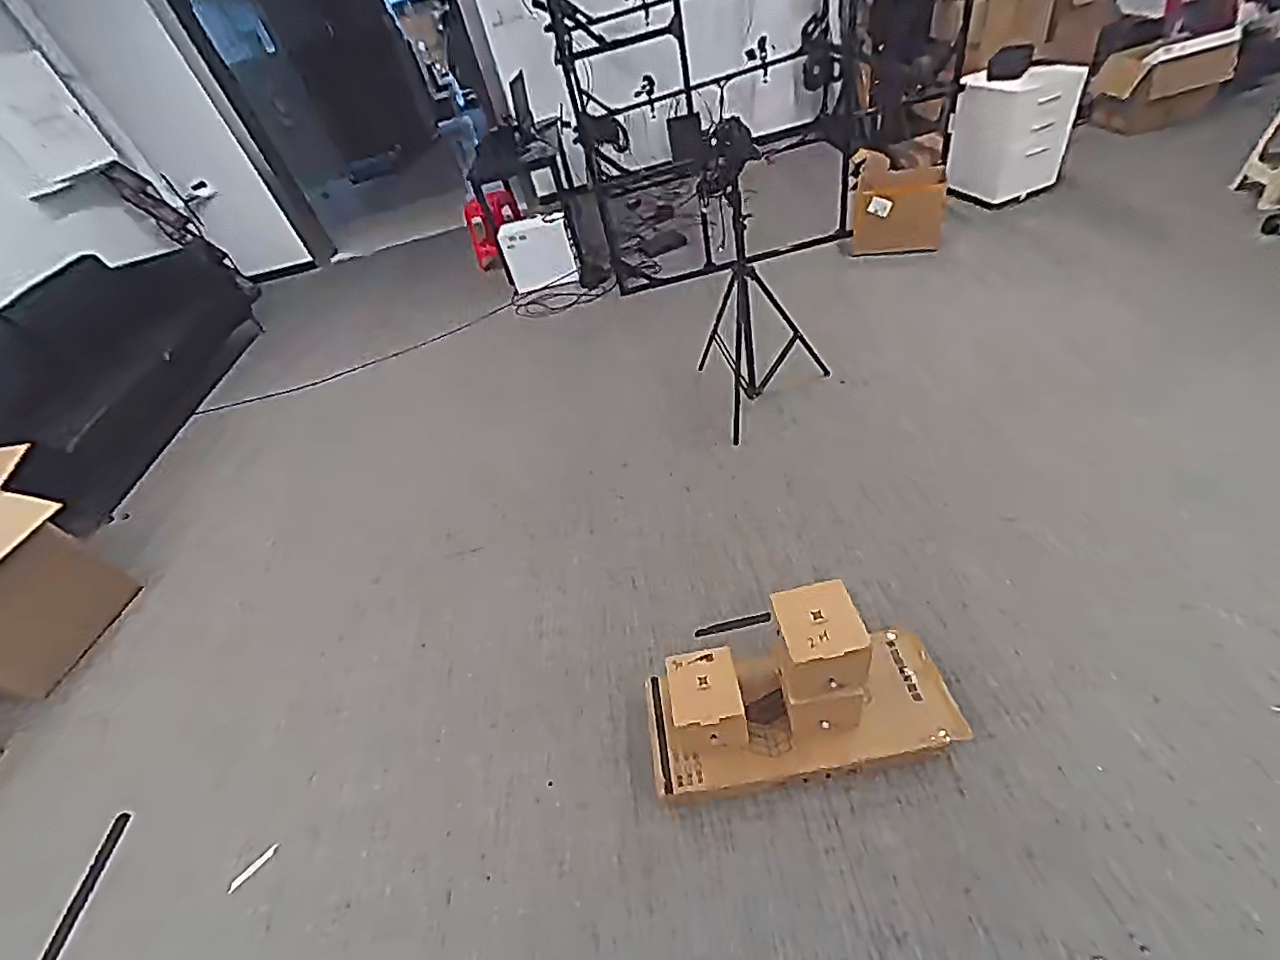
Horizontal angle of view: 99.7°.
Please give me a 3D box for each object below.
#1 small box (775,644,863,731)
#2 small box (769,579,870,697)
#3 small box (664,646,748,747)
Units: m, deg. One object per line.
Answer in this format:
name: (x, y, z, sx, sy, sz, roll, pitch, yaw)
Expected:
small box: (0.425, 0.482, 1.310, 0.168, 0.176, 0.179, -11, 44, 7)
small box: (0.394, 0.354, 1.209, 0.168, 0.176, 0.179, -14, 43, 4)
small box: (0.163, 0.539, 1.329, 0.168, 0.176, 0.179, -13, 44, 6)
